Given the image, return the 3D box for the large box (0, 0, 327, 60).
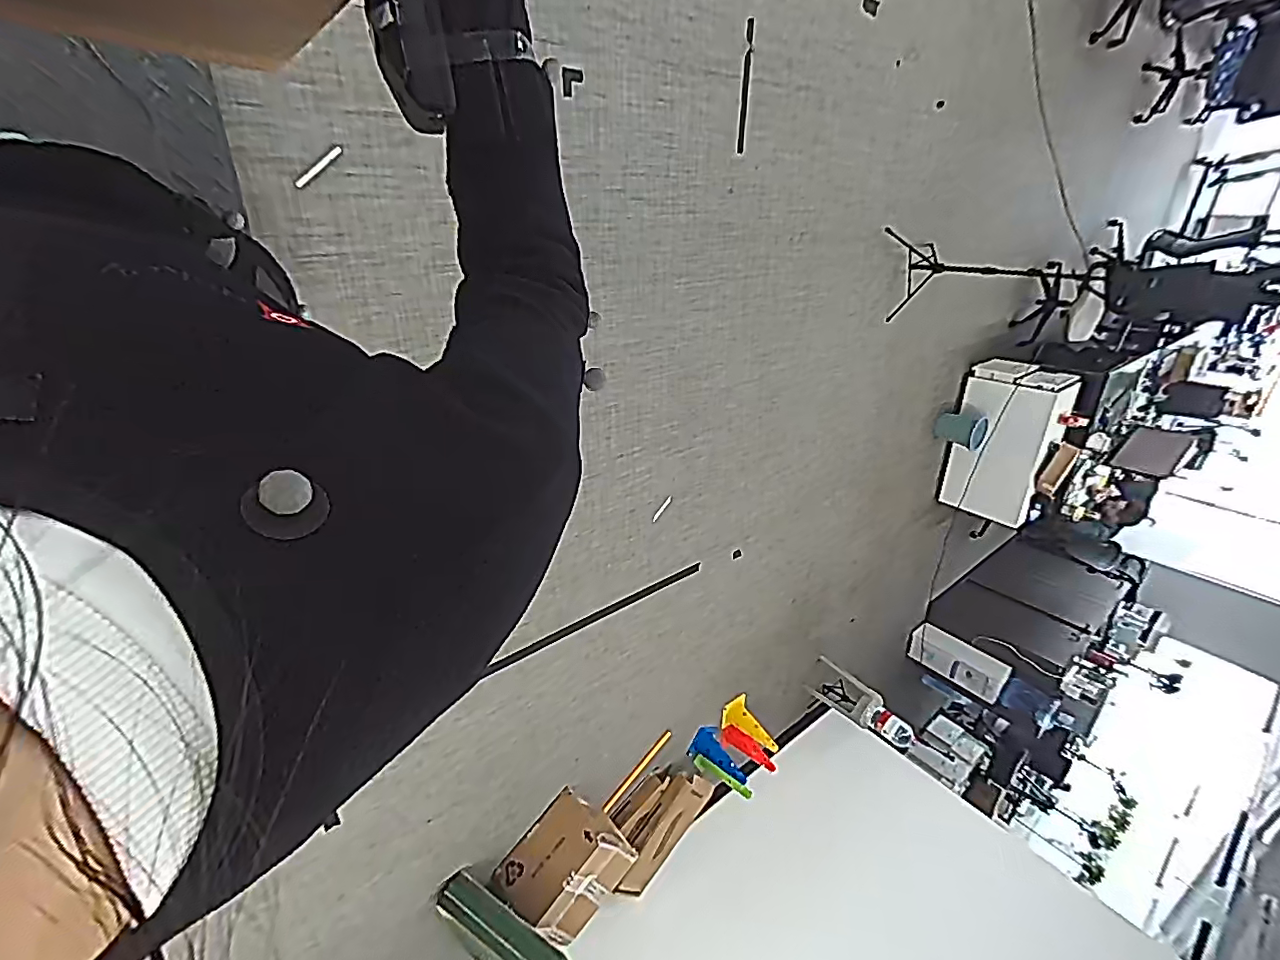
[{"bbox_3d":[-0.380,-0.407,0.202,0.408,0.320,0.320,-17,123,-37],"label":"large box"}]
